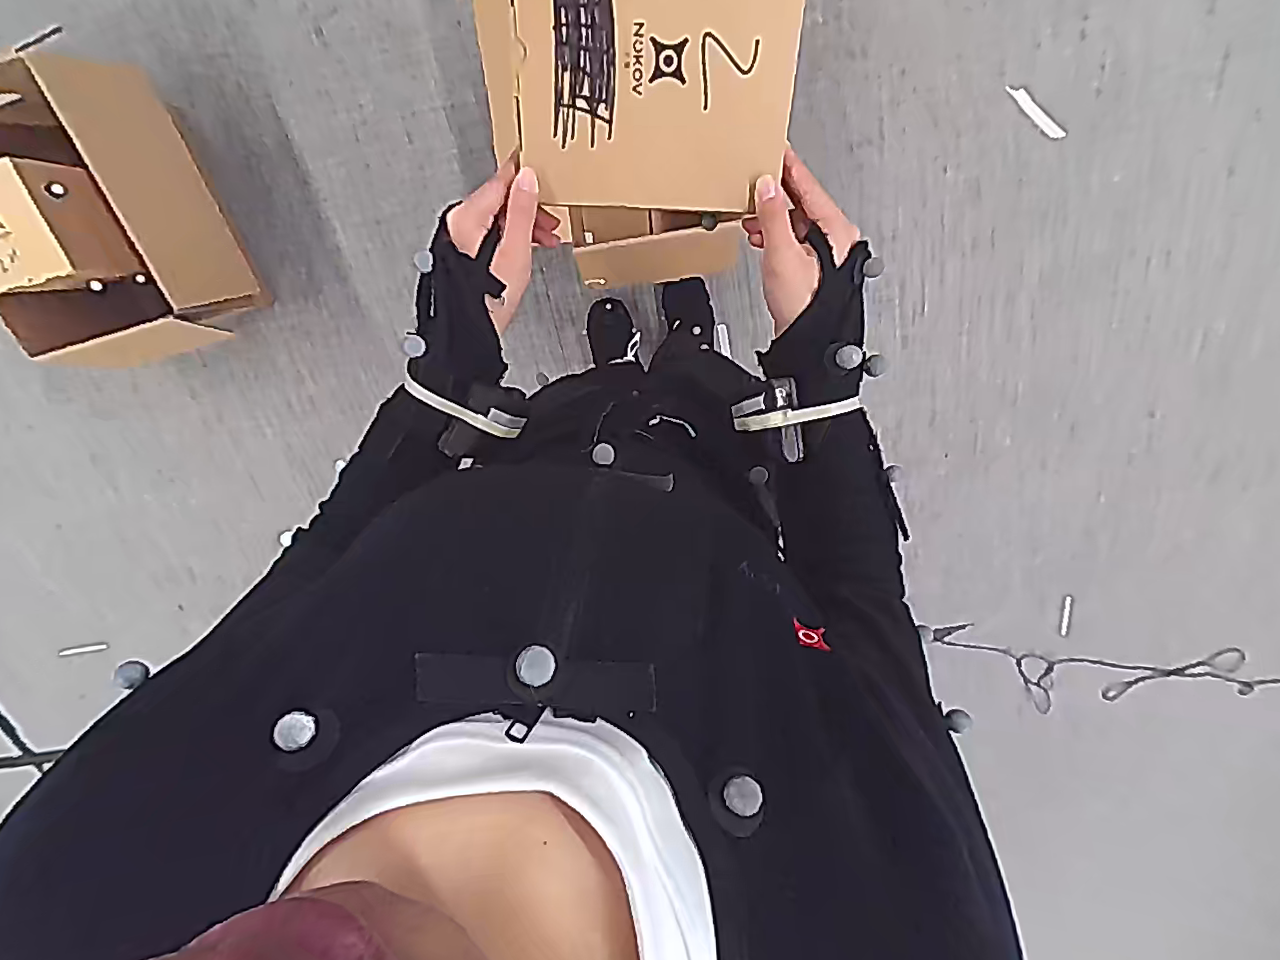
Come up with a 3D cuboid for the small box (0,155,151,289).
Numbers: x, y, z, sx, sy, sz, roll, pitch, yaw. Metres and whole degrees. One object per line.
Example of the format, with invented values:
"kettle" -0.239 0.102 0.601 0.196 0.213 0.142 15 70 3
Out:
"small box" -1.041 -0.444 0.952 0.168 0.176 0.179 -11 113 5
